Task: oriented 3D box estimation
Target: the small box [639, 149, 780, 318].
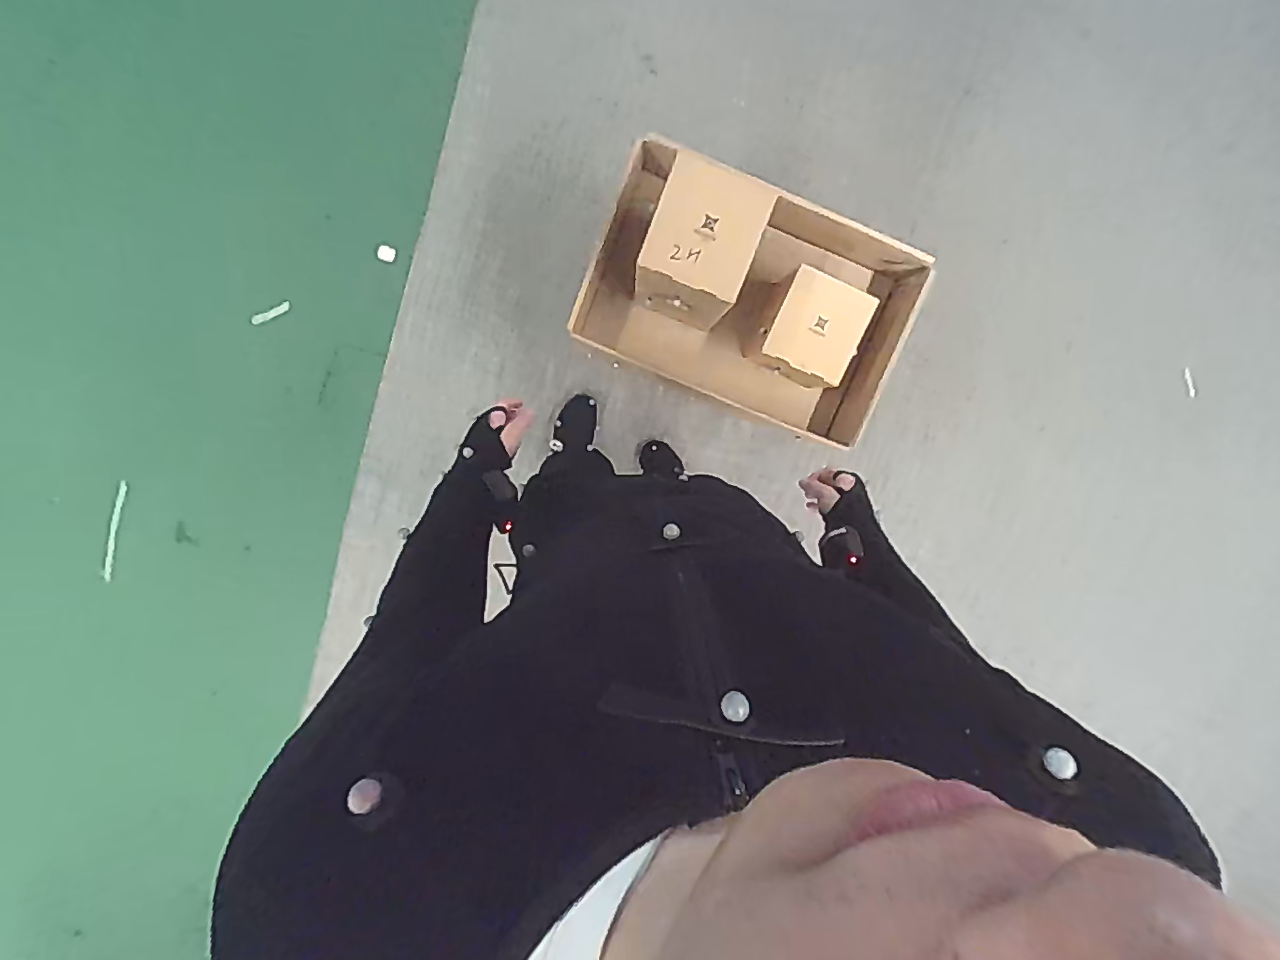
[{"bbox_3d":[0.101,-0.389,0.887,0.168,0.176,0.179,22,97,-4],"label":"small box"}]
